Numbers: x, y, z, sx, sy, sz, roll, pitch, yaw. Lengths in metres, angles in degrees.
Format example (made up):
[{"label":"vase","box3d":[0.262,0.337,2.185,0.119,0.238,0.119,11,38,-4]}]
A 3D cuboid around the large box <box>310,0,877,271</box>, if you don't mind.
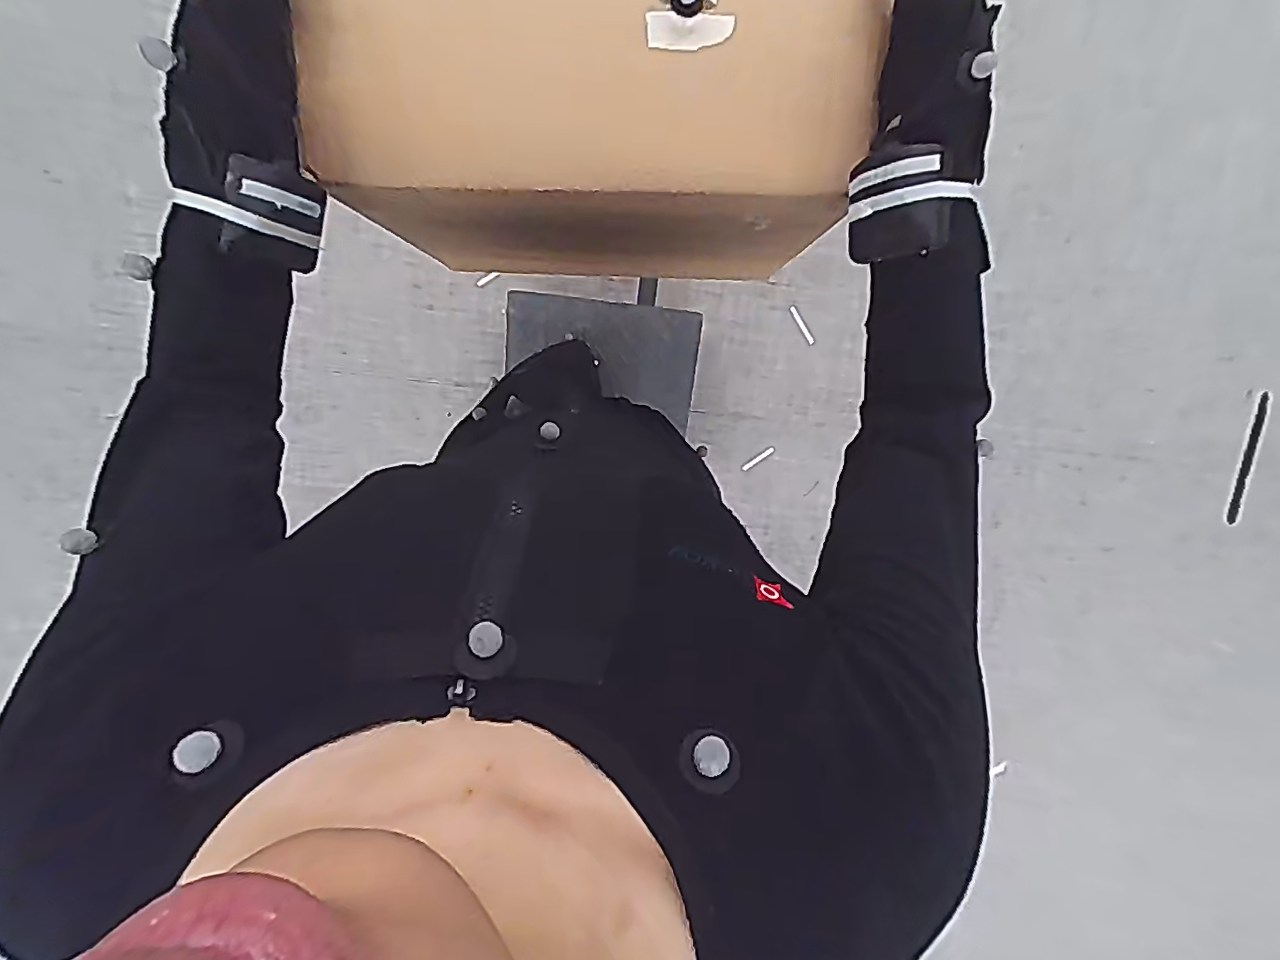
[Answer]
[{"label":"large box","box3d":[-0.033,-0.394,0.519,0.408,0.320,0.320,1,100,-1]}]
